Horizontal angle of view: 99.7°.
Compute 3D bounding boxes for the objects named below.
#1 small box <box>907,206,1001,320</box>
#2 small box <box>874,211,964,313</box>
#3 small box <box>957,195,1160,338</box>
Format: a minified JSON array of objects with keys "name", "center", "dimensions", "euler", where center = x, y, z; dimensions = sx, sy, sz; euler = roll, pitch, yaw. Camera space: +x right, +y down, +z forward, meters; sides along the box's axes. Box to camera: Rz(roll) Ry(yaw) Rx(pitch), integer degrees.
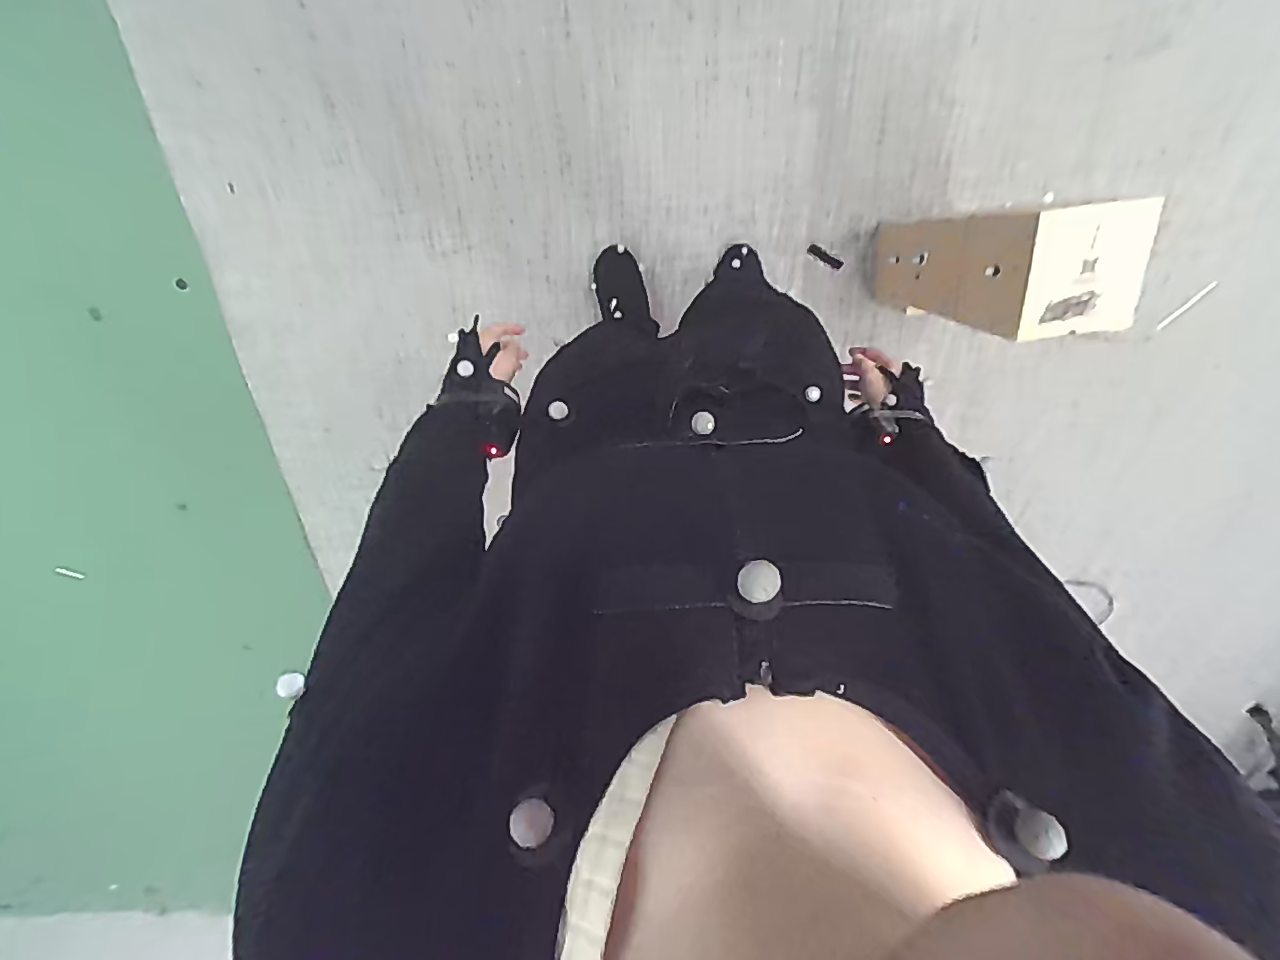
[{"name":"small box","center":[0.614,-0.396,0.975],"dimensions":[0.179,0.176,0.168],"euler":[-7,115,3]},{"name":"small box","center":[0.606,-0.457,1.126],"dimensions":[0.168,0.176,0.179],"euler":[-7,115,2]},{"name":"small box","center":[0.616,-0.327,0.825],"dimensions":[0.168,0.176,0.179],"euler":[-6,114,2]}]
